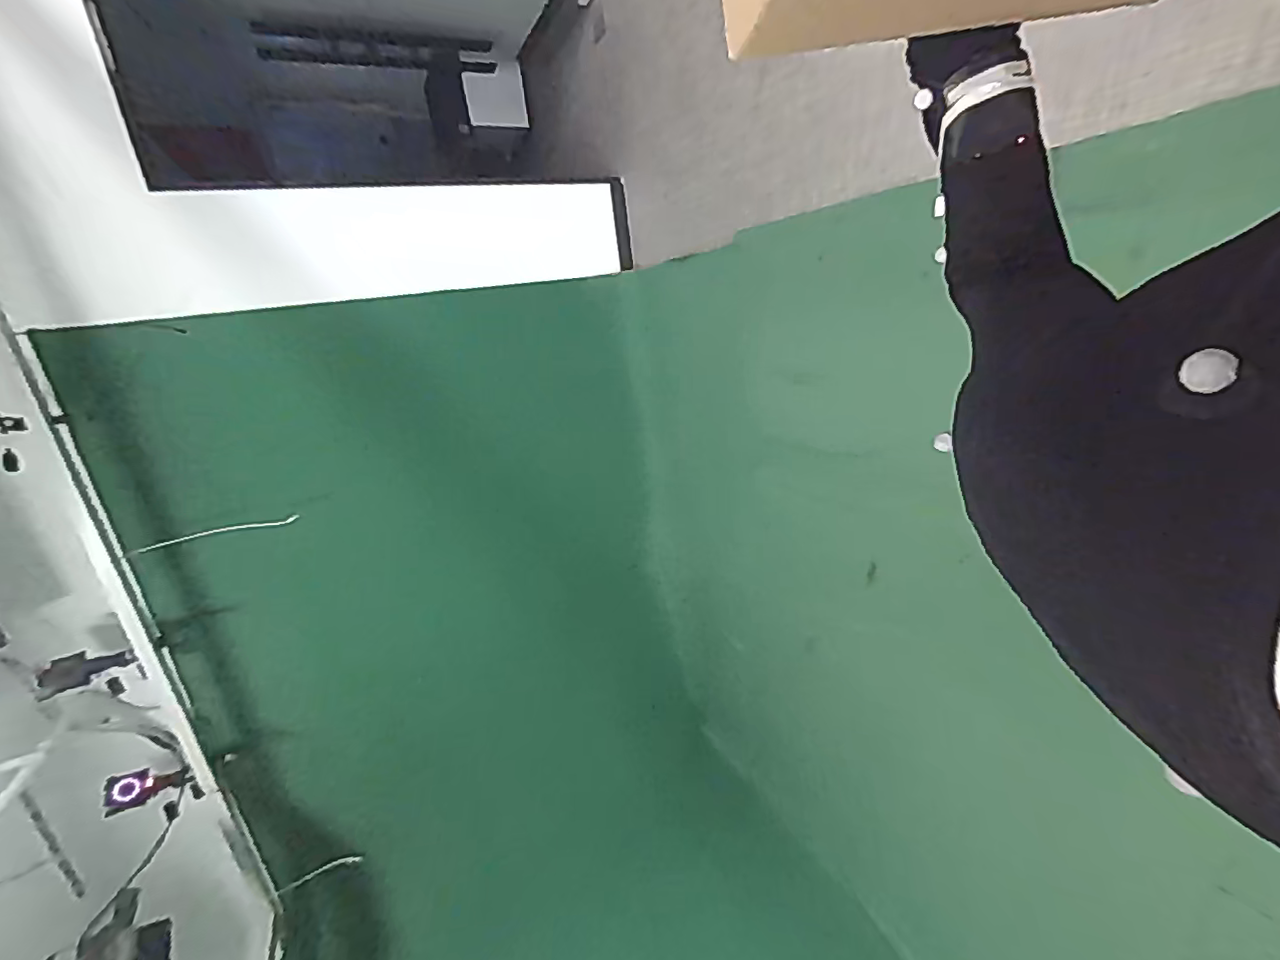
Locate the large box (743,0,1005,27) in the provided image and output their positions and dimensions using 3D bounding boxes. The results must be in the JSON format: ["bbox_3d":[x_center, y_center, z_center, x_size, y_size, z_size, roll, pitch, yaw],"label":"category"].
[{"bbox_3d":[0.221,-0.405,0.150,0.408,0.320,0.320,-97,0,-67],"label":"large box"}]
